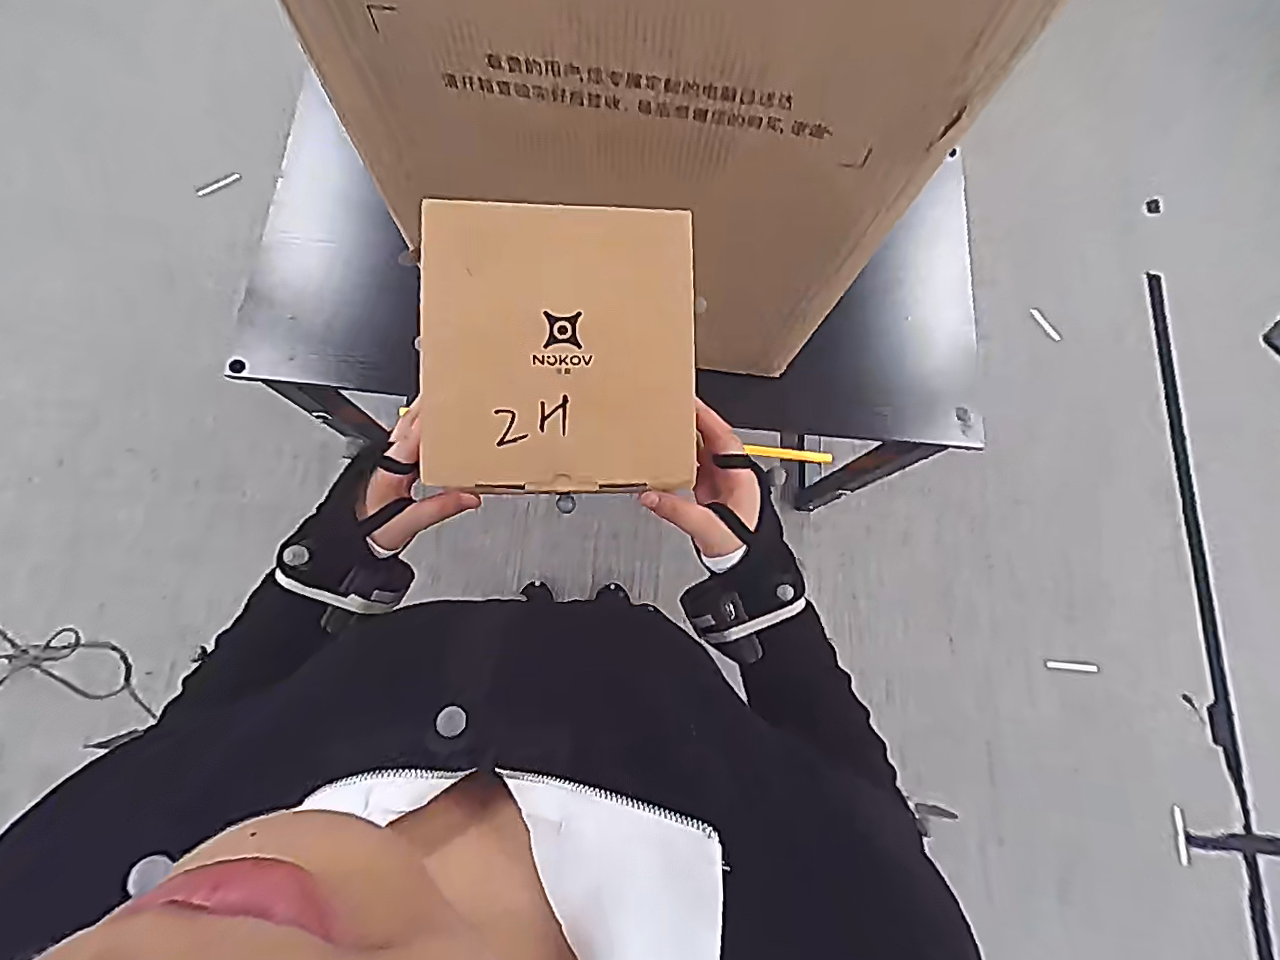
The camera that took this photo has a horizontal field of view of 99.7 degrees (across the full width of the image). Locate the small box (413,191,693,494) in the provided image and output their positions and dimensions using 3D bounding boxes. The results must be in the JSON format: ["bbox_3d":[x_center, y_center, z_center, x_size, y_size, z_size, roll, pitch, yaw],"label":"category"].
[{"bbox_3d":[-0.058,-0.079,0.401,0.168,0.176,0.179,0,88,-6],"label":"small box"}]
